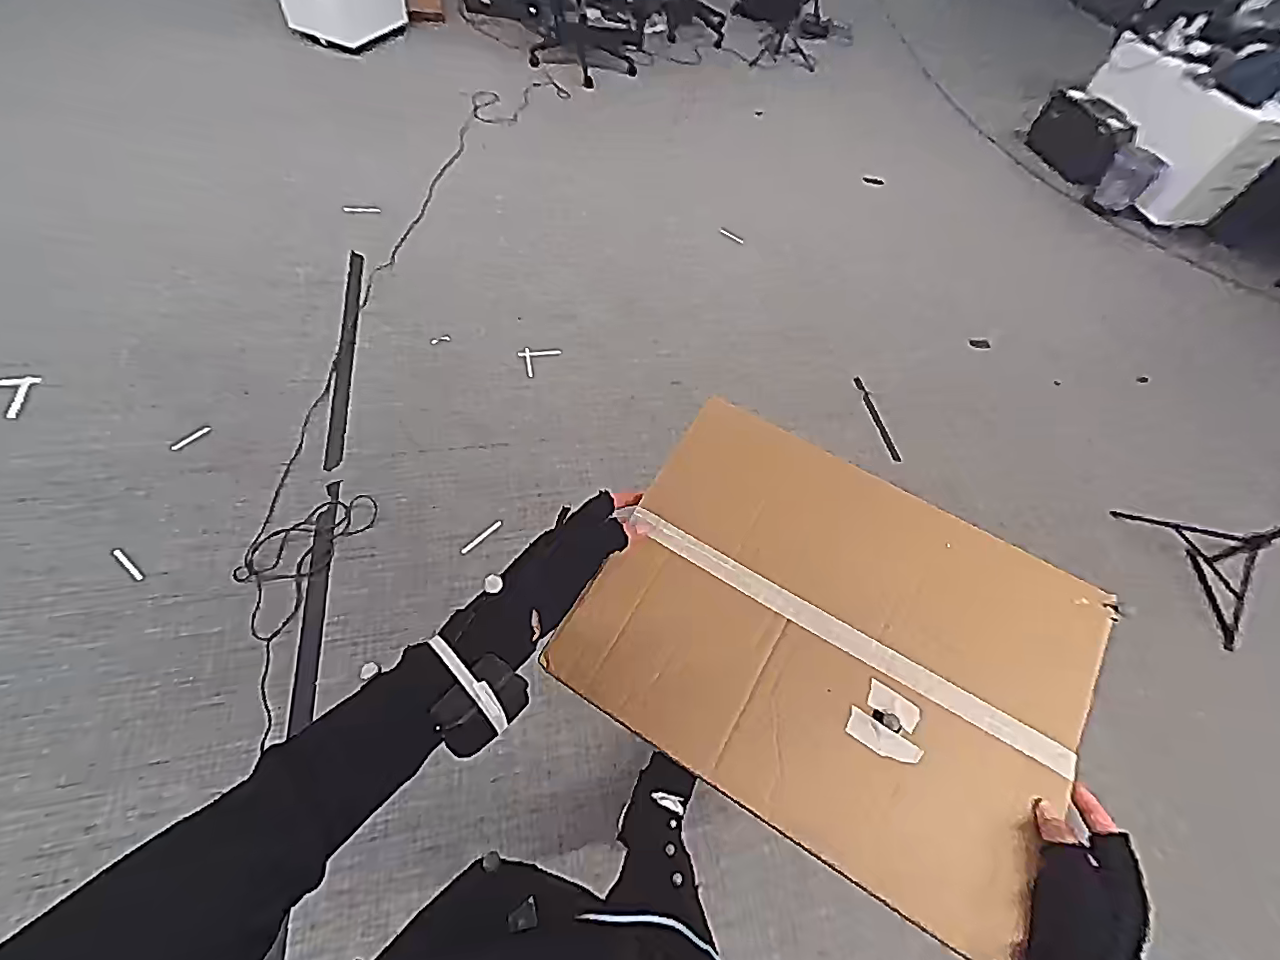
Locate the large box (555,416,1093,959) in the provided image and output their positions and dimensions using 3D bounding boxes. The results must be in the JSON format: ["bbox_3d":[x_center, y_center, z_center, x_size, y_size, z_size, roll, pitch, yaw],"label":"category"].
[{"bbox_3d":[0.168,0.199,0.618,0.408,0.320,0.320,30,70,12],"label":"large box"}]
